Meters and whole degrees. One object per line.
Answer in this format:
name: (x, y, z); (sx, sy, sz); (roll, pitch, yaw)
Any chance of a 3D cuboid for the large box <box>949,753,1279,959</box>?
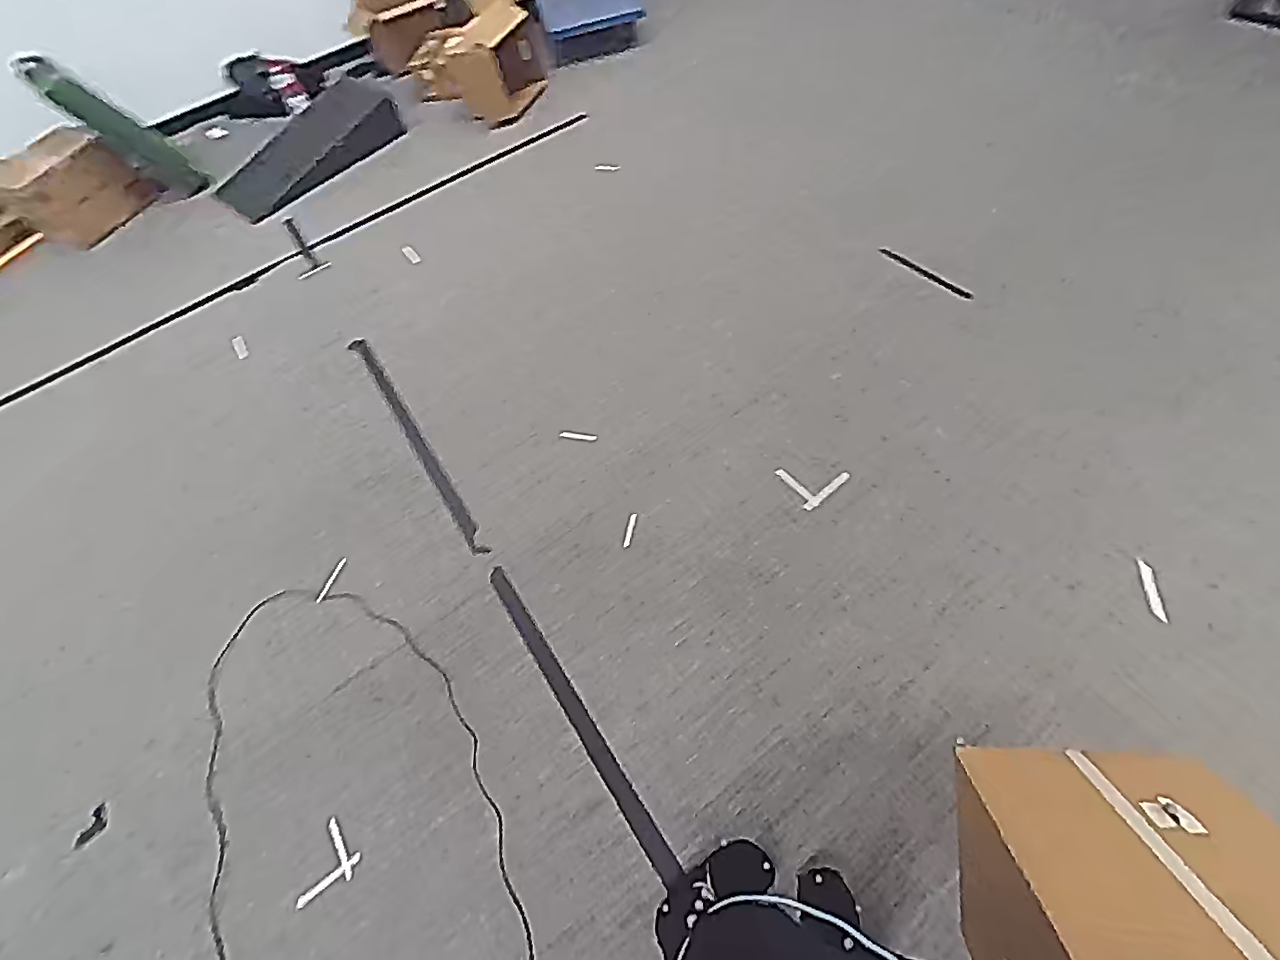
large box: (0.608, 0.586, 0.630); (0.320, 0.408, 0.320); (-4, 95, 12)
